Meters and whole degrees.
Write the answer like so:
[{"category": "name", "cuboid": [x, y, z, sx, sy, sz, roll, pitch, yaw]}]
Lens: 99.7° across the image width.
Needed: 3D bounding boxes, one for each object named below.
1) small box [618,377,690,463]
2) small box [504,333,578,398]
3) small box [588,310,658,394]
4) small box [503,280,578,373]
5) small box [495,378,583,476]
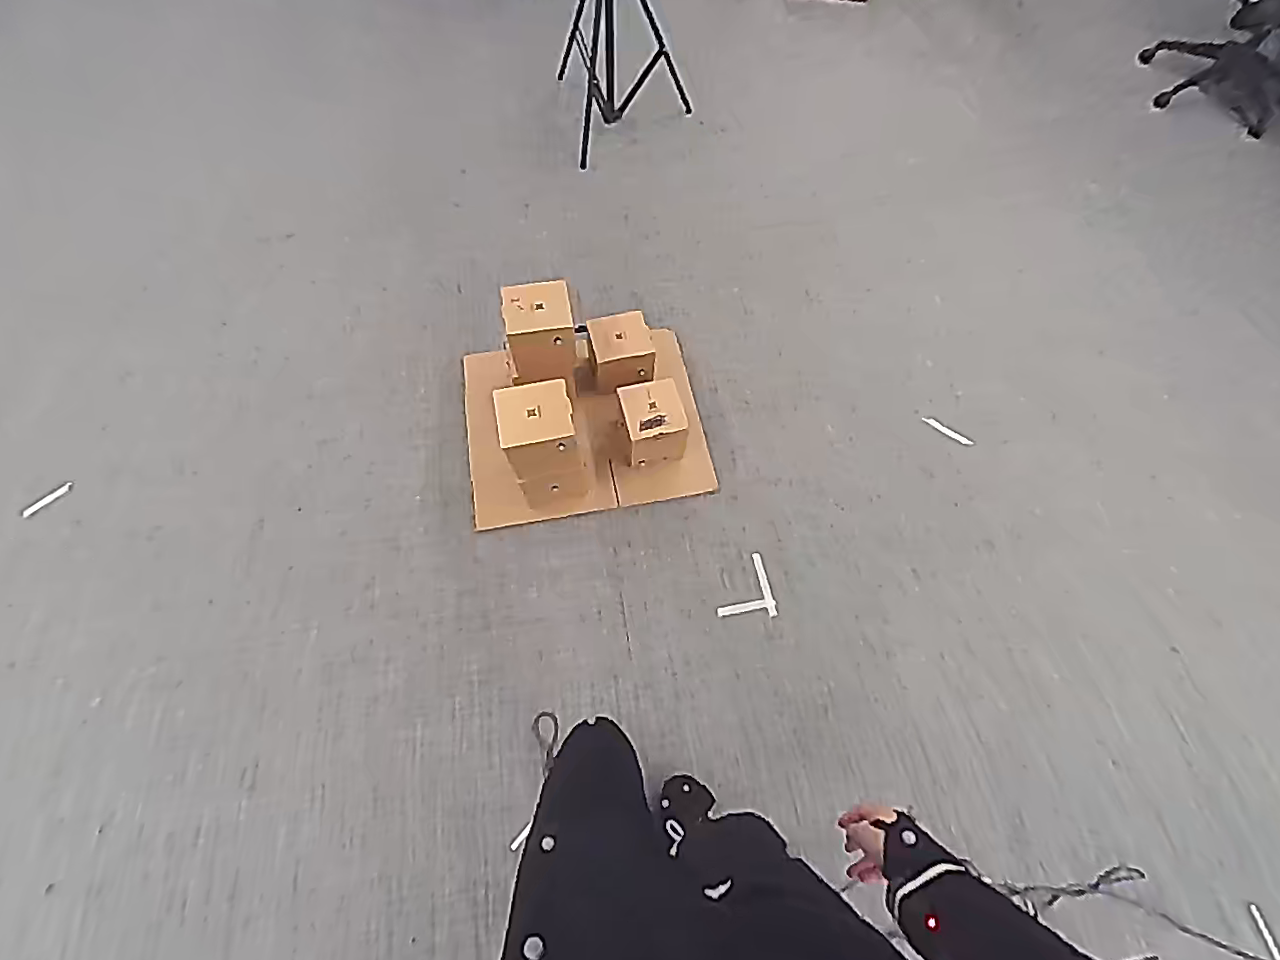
[{"category": "small box", "cuboid": [0.037, -0.163, 1.545, 0.168, 0.176, 0.179, -12, 66, -7]}, {"category": "small box", "cuboid": [-0.293, -0.339, 1.616, 0.179, 0.176, 0.168, -13, 67, -7]}, {"category": "small box", "cuboid": [-0.054, -0.385, 1.649, 0.179, 0.176, 0.168, -13, 65, -7]}, {"category": "small box", "cuboid": [-0.264, -0.413, 1.469, 0.179, 0.176, 0.168, -9, 65, -6]}, {"category": "small box", "cuboid": [-0.247, -0.125, 1.337, 0.179, 0.176, 0.168, -11, 66, -7]}]
